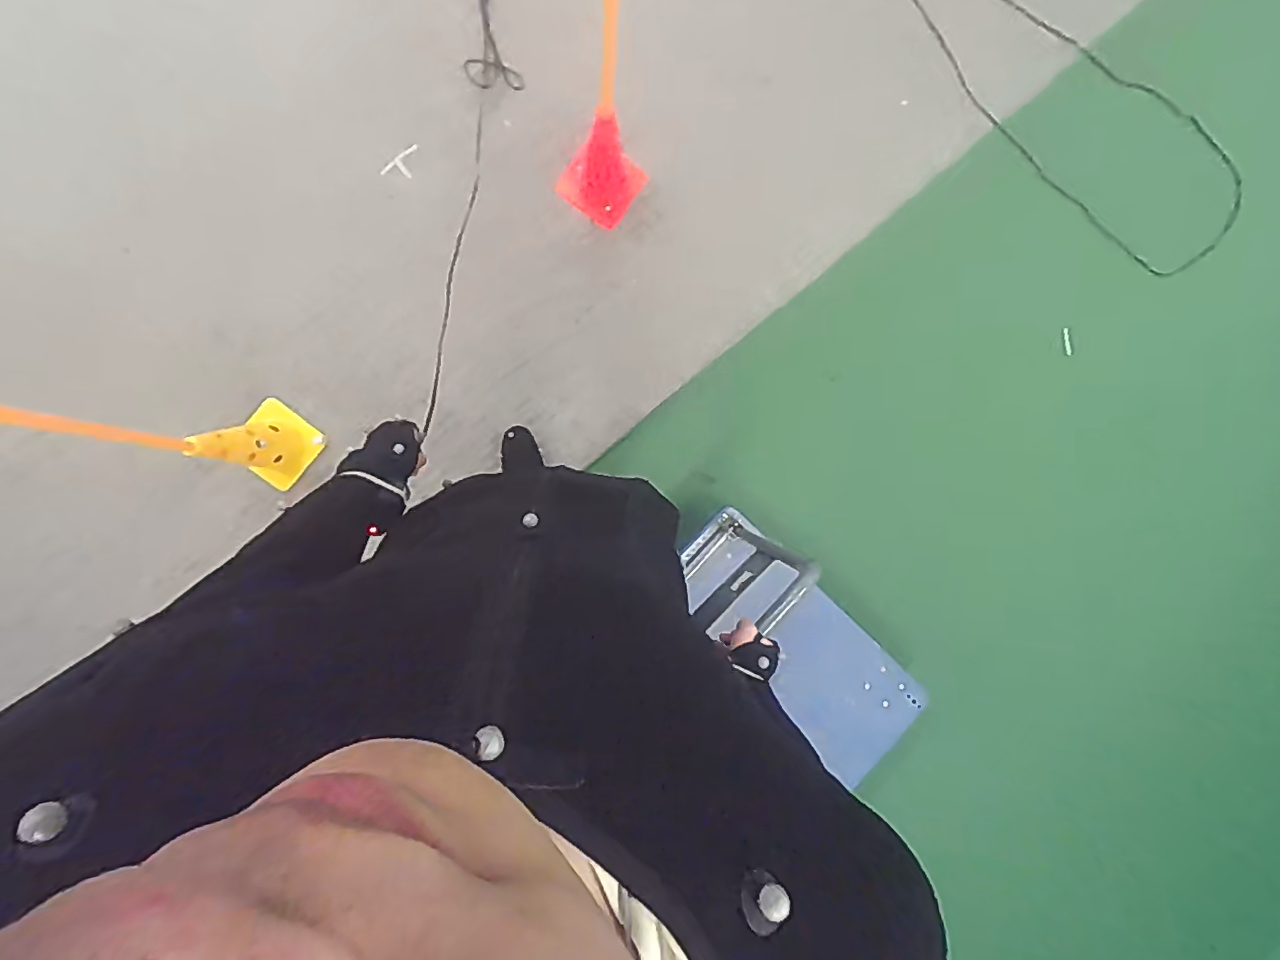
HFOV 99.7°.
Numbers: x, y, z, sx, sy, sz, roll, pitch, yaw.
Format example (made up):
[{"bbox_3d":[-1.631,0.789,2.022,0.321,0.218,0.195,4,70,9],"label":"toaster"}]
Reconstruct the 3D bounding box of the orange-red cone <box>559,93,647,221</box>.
[{"bbox_3d":[-0.084,-0.855,1.373,0.198,0.360,0.199,36,89,-9],"label":"orange-red cone"}]
